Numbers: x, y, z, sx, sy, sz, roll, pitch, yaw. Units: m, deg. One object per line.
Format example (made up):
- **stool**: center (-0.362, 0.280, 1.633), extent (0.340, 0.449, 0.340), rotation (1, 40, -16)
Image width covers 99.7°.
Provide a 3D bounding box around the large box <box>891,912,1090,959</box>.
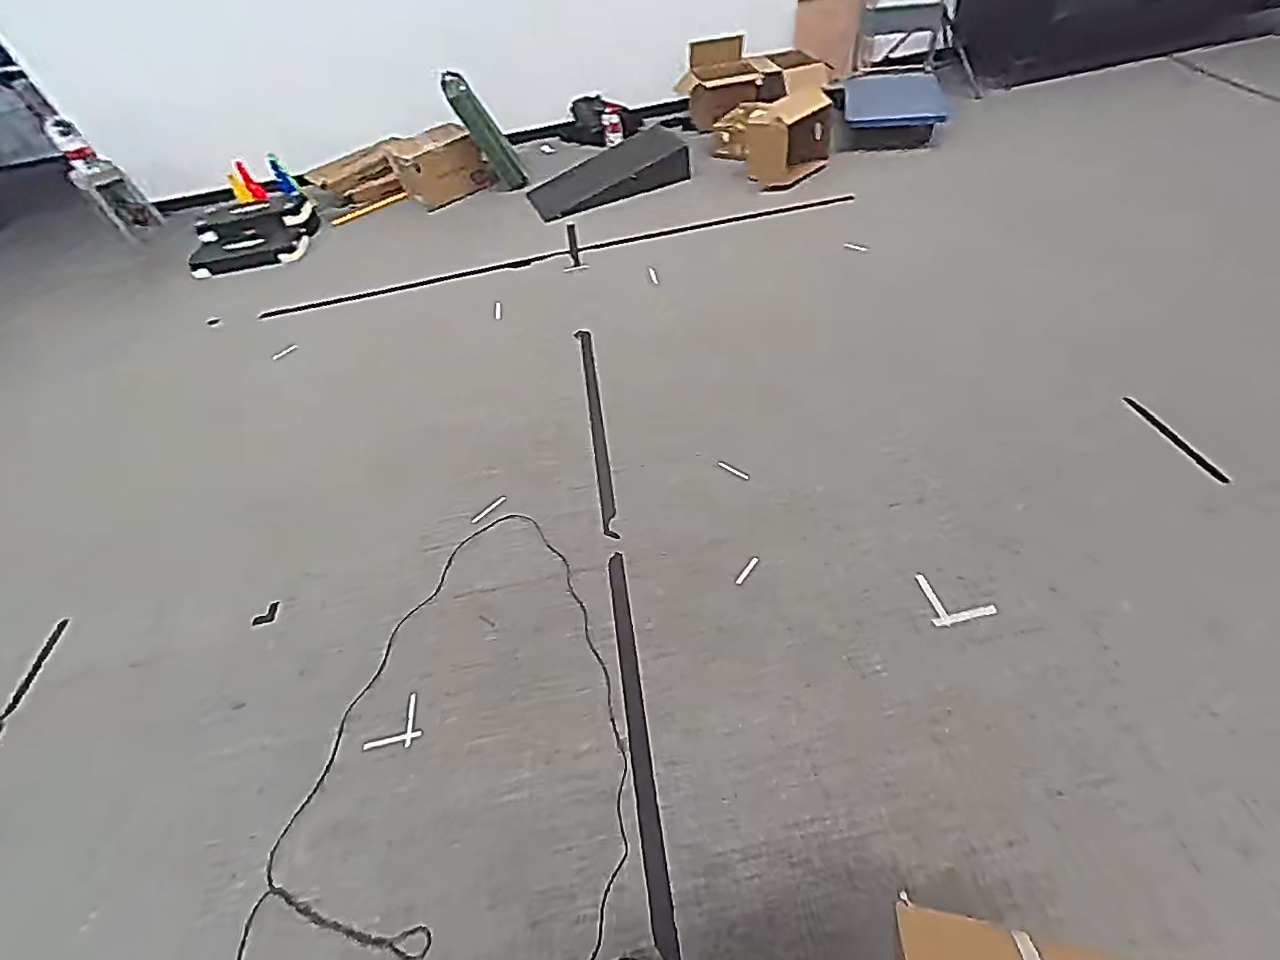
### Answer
- **large box**: center (0.449, 0.769, 0.557), extent (0.320, 0.408, 0.320), rotation (3, 82, 20)
